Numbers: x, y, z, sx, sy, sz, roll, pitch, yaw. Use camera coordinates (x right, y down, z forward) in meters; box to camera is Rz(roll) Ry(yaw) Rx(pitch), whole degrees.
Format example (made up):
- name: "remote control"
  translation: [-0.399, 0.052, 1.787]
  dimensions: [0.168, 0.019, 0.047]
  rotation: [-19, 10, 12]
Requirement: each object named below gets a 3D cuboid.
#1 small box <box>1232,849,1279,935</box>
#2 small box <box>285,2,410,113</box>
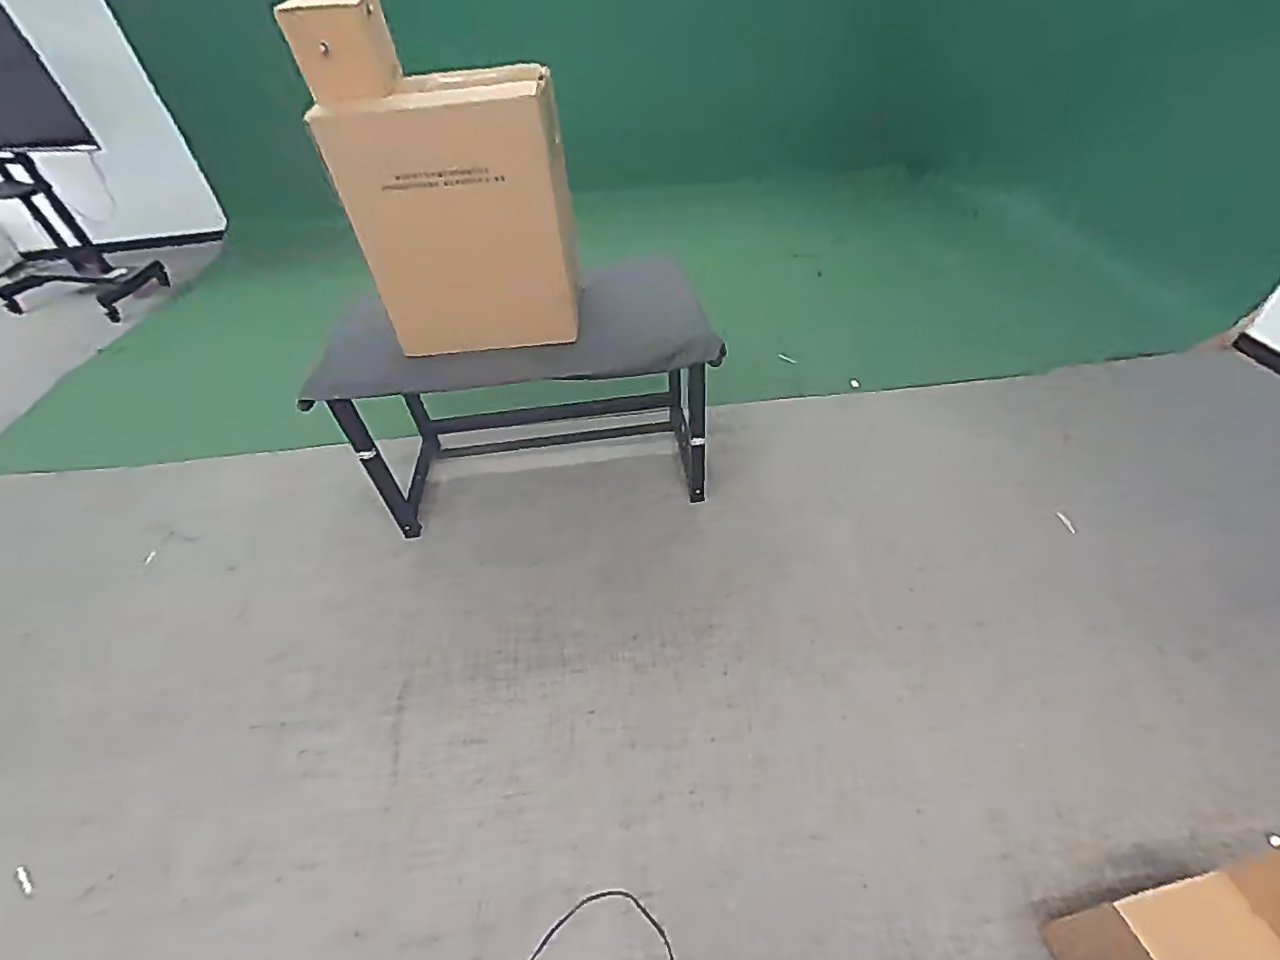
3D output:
- name: "small box"
  translation: [1.148, 0.691, 0.865]
  dimensions: [0.168, 0.176, 0.179]
  rotation: [-10, 40, -5]
- name: "small box"
  translation: [-0.670, -0.980, 1.260]
  dimensions: [0.179, 0.176, 0.168]
  rotation: [-5, 52, 1]
